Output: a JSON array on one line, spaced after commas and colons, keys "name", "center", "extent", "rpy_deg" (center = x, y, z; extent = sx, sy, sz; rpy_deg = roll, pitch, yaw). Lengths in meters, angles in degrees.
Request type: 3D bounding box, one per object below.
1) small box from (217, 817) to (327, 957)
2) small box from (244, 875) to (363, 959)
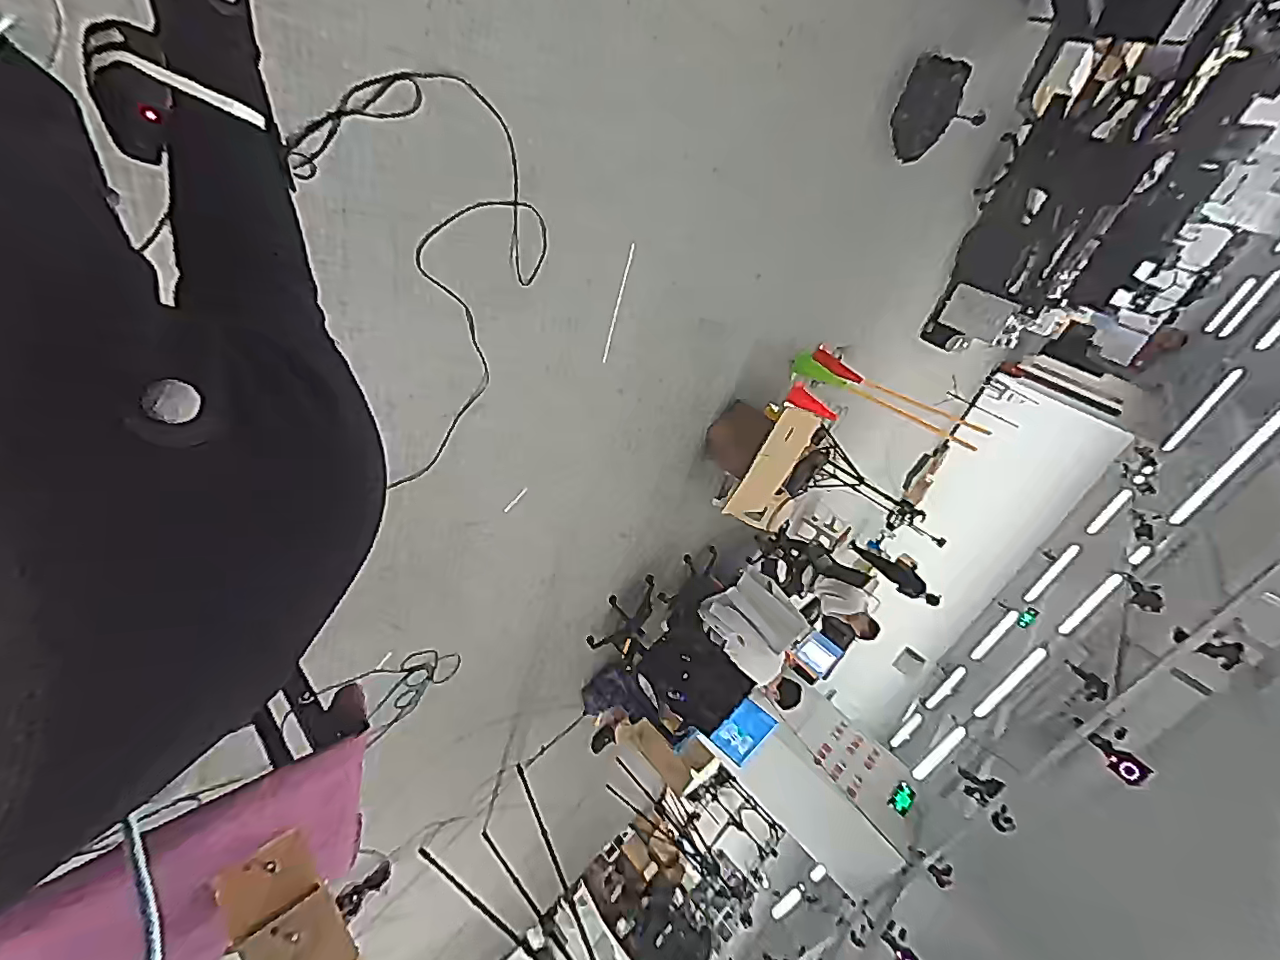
[{"name": "small box", "center": [-0.823, 0.913, 1.222], "extent": [0.168, 0.176, 0.179], "rpy_deg": [-21, 139, -43]}, {"name": "small box", "center": [-0.702, 0.984, 1.133], "extent": [0.168, 0.176, 0.179], "rpy_deg": [-19, 138, -45]}]
